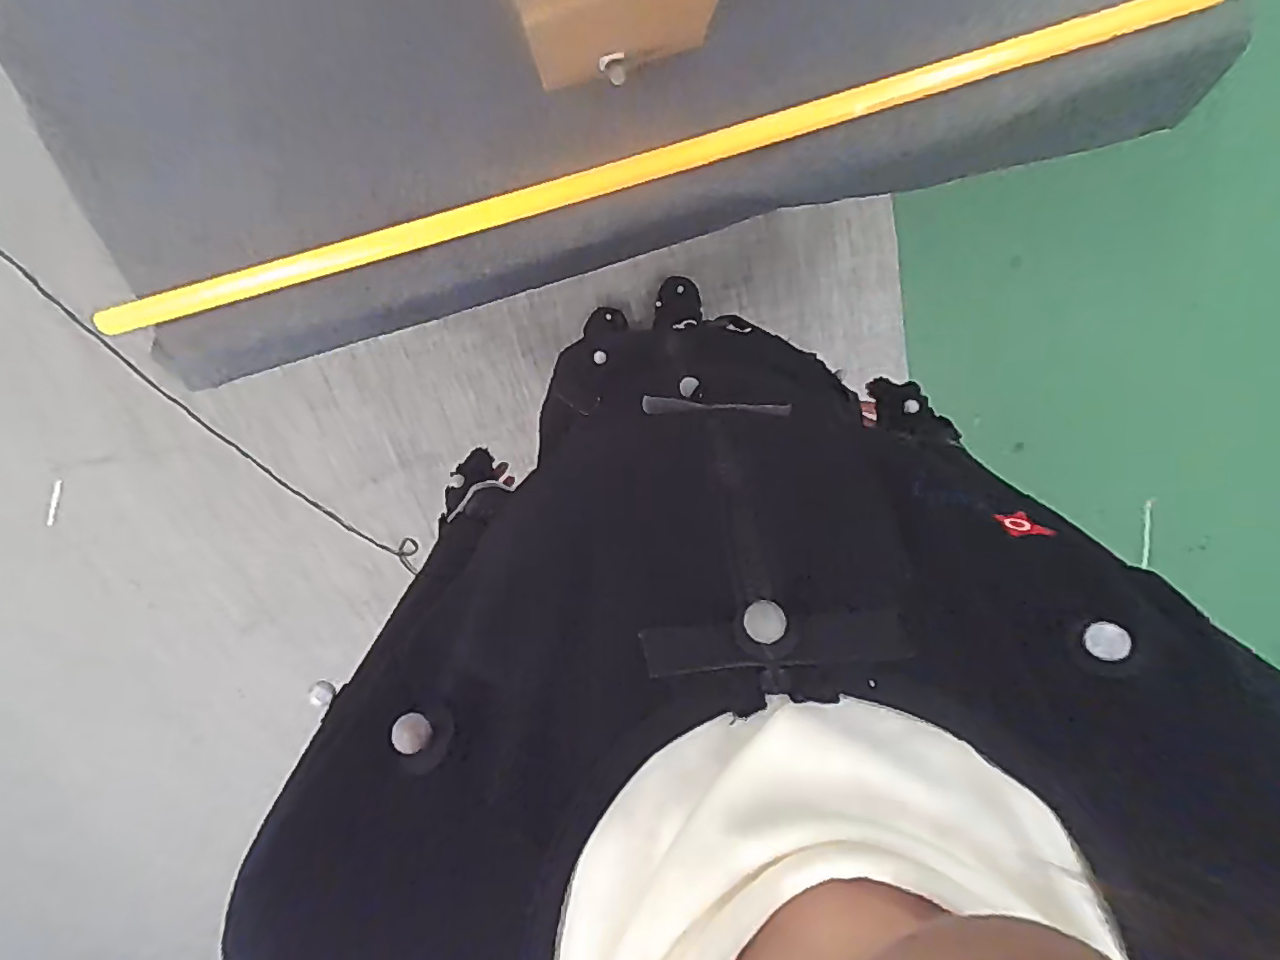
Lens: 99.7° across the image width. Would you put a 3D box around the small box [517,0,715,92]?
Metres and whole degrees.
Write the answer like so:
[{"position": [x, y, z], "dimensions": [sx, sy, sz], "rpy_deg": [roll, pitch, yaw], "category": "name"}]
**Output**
[{"position": [-0.036, -0.466, 0.446], "dimensions": [0.168, 0.176, 0.179], "rpy_deg": [-17, 111, 4], "category": "small box"}]
